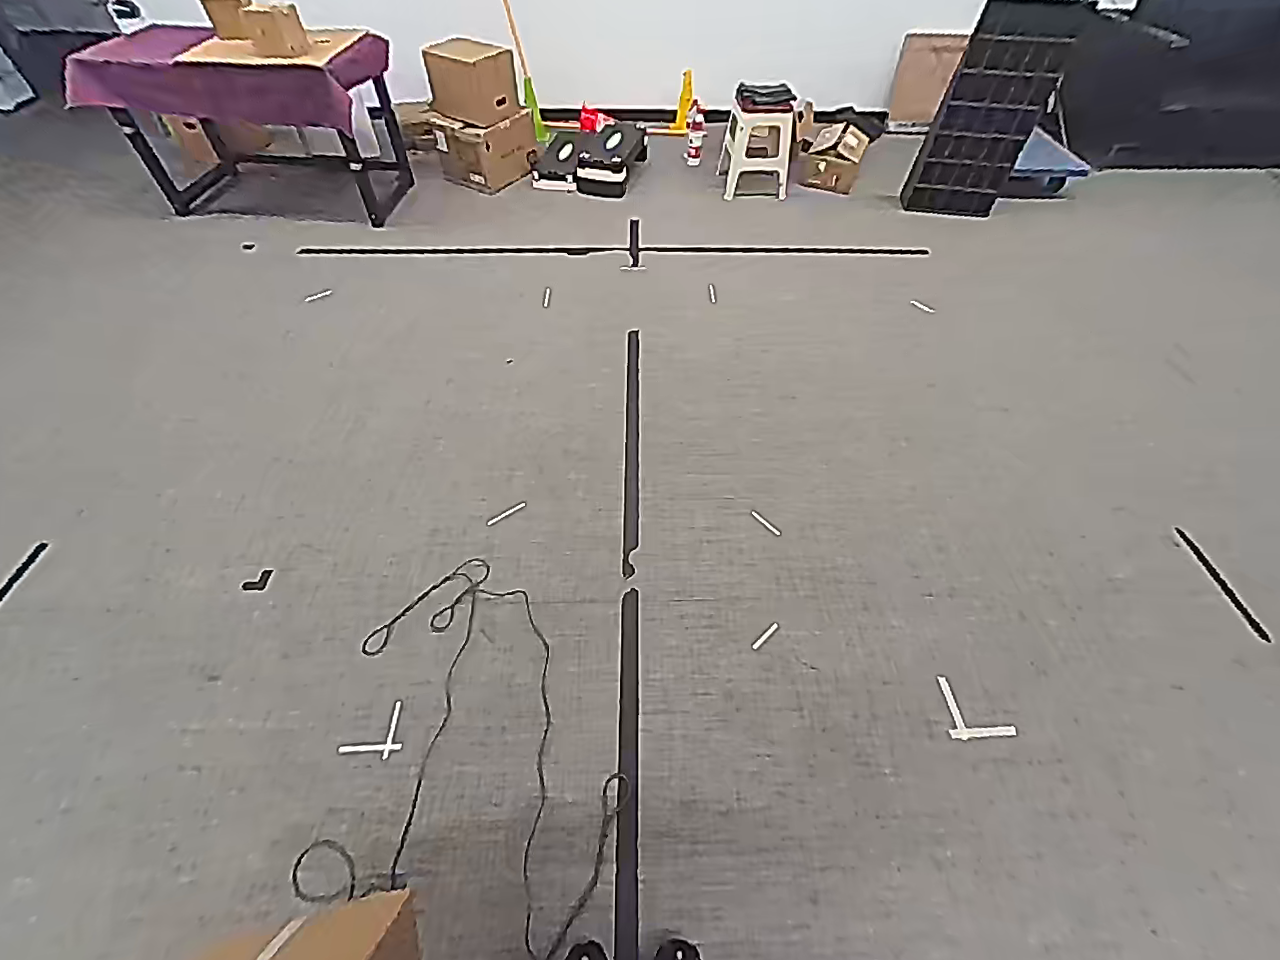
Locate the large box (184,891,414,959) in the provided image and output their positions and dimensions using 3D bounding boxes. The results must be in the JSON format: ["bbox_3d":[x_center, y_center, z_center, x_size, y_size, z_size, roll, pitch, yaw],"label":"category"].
[{"bbox_3d":[-0.456,0.768,0.598,0.320,0.408,0.320,-12,81,-6],"label":"large box"}]
